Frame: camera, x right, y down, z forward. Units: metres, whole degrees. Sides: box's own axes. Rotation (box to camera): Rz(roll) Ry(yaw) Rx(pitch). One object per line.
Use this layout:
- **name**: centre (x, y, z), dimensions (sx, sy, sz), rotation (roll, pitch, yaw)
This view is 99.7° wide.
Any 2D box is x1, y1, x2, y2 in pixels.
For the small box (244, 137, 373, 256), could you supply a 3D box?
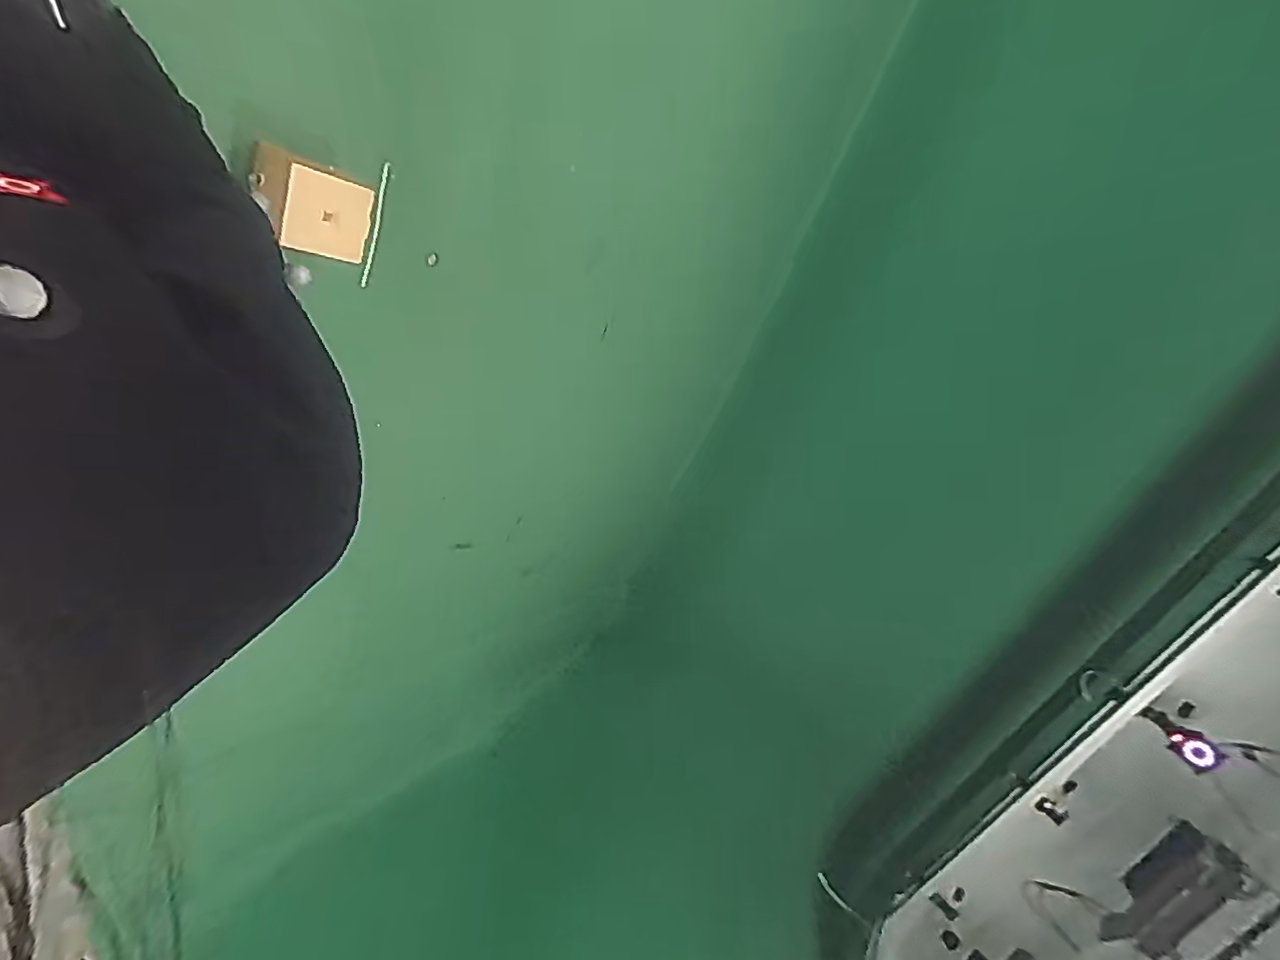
- **small box**: centre (-0.725, -0.618, 1.182), dimensions (0.179, 0.176, 0.168), rotation (-10, 130, -54)
